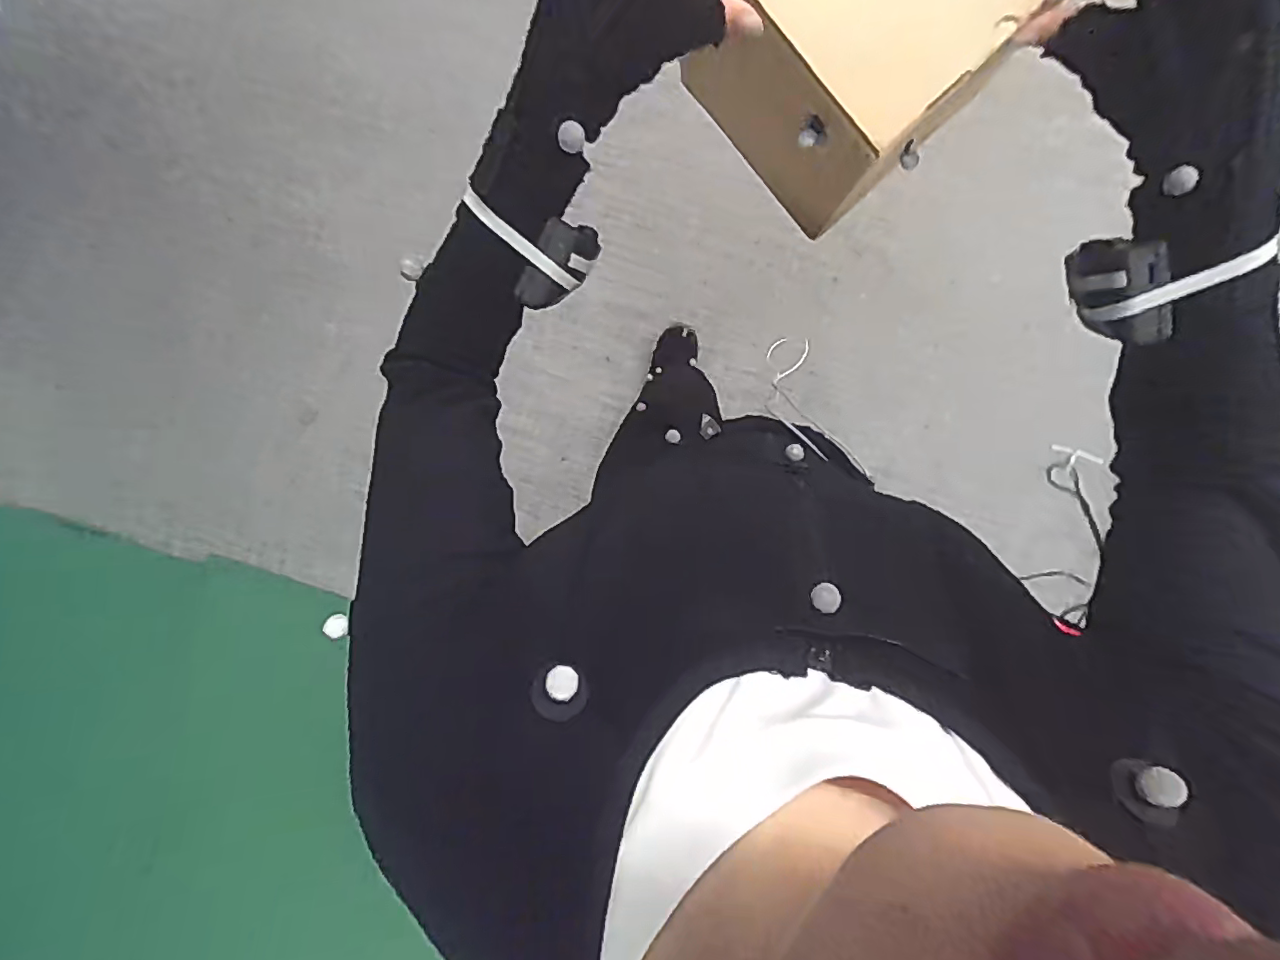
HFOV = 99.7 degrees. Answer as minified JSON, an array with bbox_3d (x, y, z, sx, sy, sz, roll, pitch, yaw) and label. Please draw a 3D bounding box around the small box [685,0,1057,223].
[{"bbox_3d":[0.141,-0.312,0.363,0.168,0.176,0.179,-40,94,10],"label":"small box"}]
